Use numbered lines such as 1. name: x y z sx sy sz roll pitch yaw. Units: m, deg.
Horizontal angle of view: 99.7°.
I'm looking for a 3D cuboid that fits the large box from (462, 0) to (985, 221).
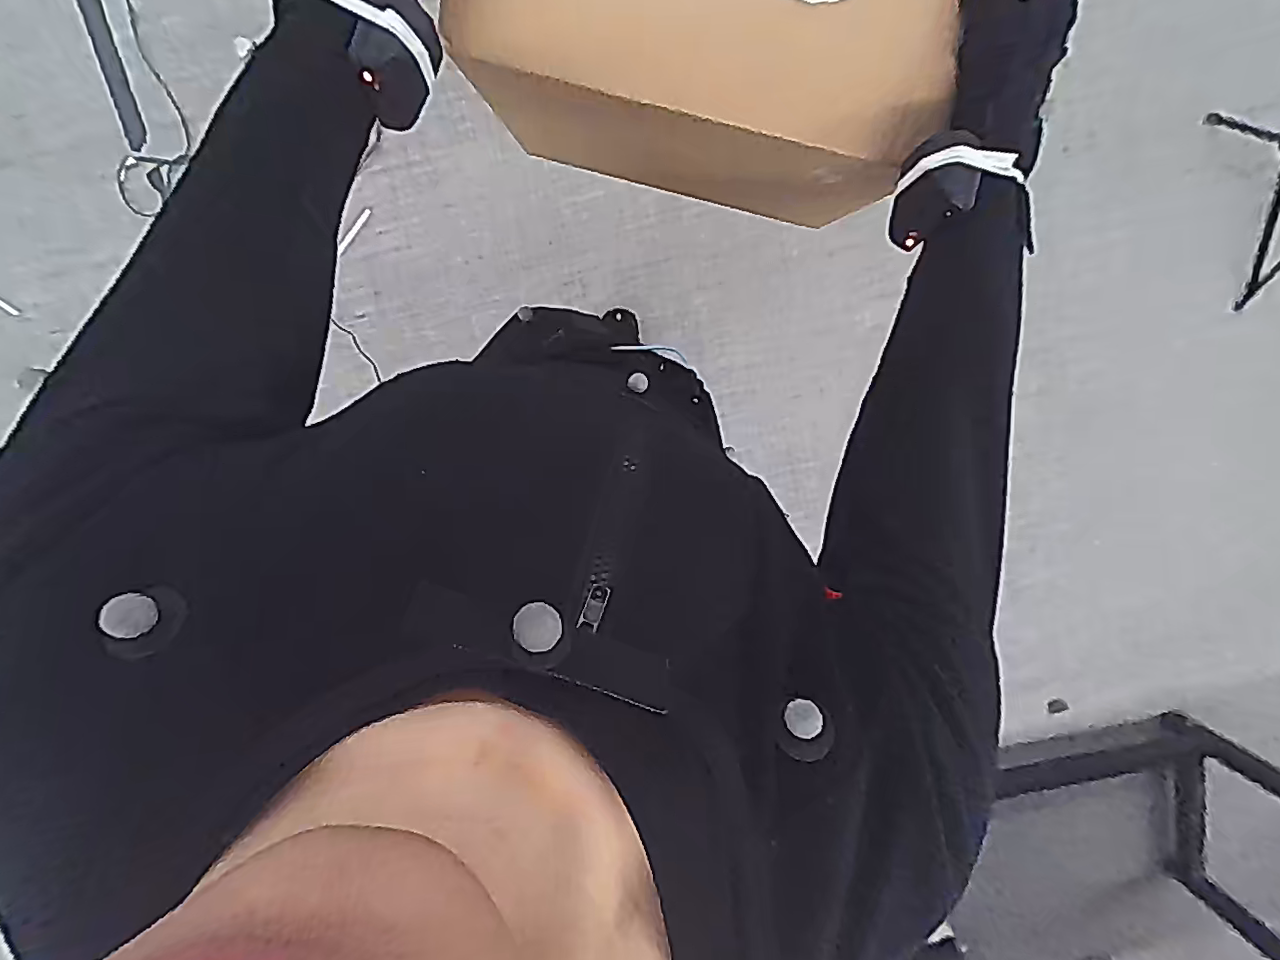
1. large box: 0.081 -0.487 0.538 0.408 0.320 0.320 13 109 -4
